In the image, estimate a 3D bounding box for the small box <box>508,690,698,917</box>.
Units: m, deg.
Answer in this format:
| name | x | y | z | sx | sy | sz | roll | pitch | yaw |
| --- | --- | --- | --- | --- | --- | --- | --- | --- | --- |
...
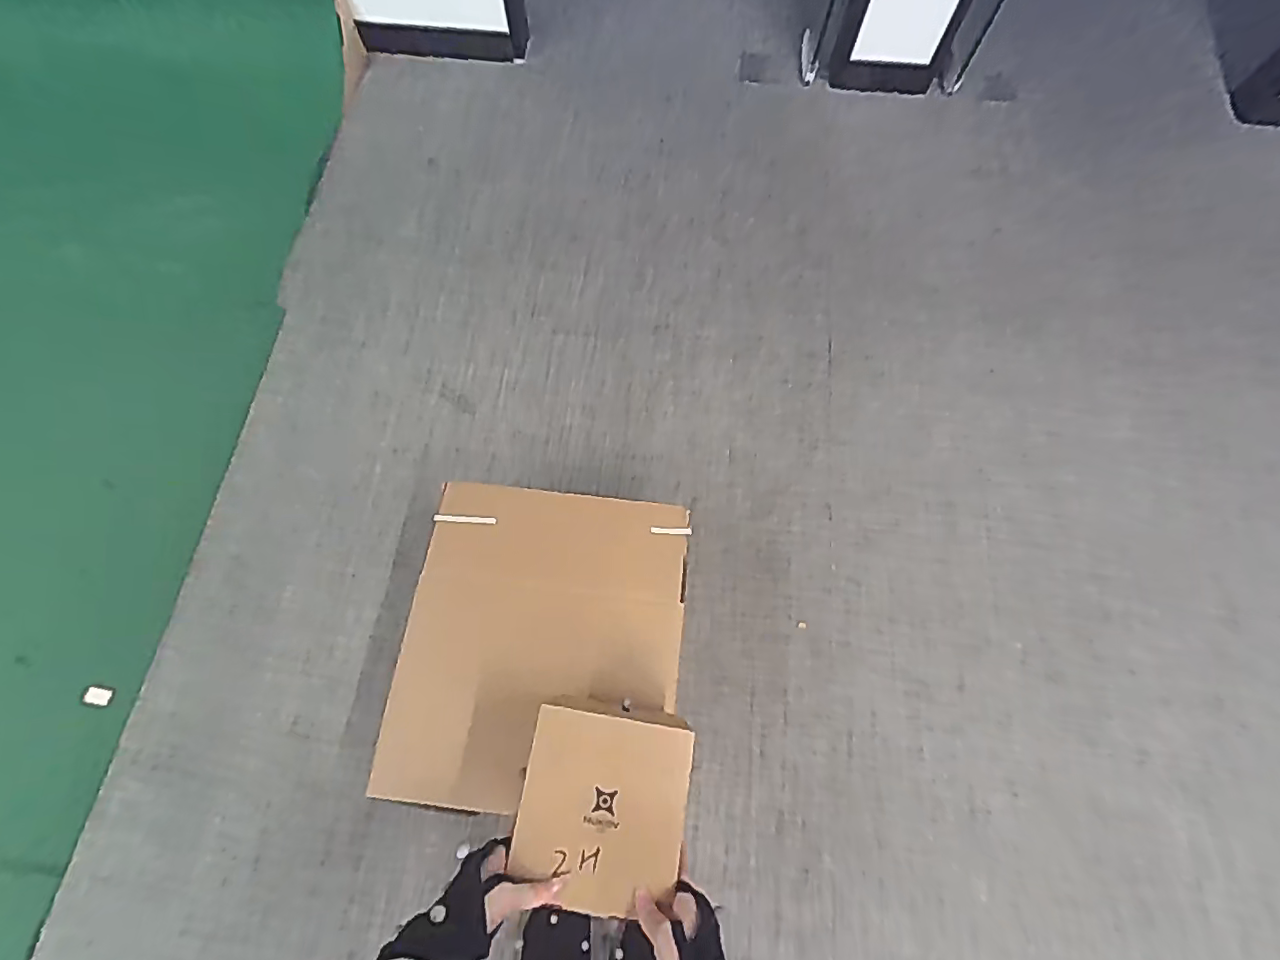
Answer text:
| name | x | y | z | sx | sy | sz | roll | pitch | yaw |
| --- | --- | --- | --- | --- | --- | --- | --- | --- | --- |
| small box | -0.036 | 0.348 | 0.622 | 0.168 | 0.176 | 0.179 | 10 | 72 | 3 |
